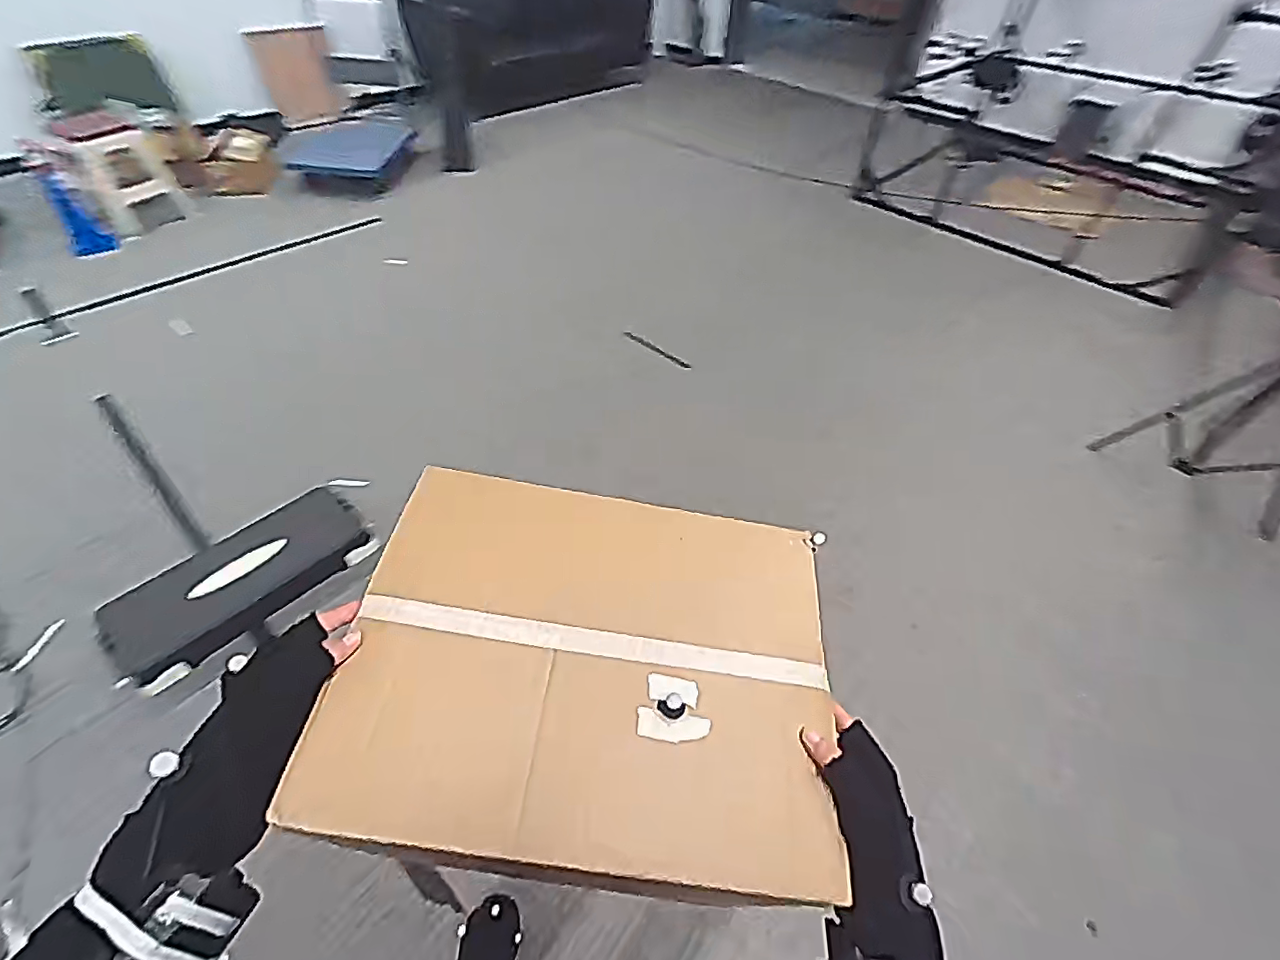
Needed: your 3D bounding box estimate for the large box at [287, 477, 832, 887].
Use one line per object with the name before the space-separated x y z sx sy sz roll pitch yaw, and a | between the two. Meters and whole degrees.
large box | -0.064 0.233 0.594 0.408 0.320 0.320 9 51 -4
